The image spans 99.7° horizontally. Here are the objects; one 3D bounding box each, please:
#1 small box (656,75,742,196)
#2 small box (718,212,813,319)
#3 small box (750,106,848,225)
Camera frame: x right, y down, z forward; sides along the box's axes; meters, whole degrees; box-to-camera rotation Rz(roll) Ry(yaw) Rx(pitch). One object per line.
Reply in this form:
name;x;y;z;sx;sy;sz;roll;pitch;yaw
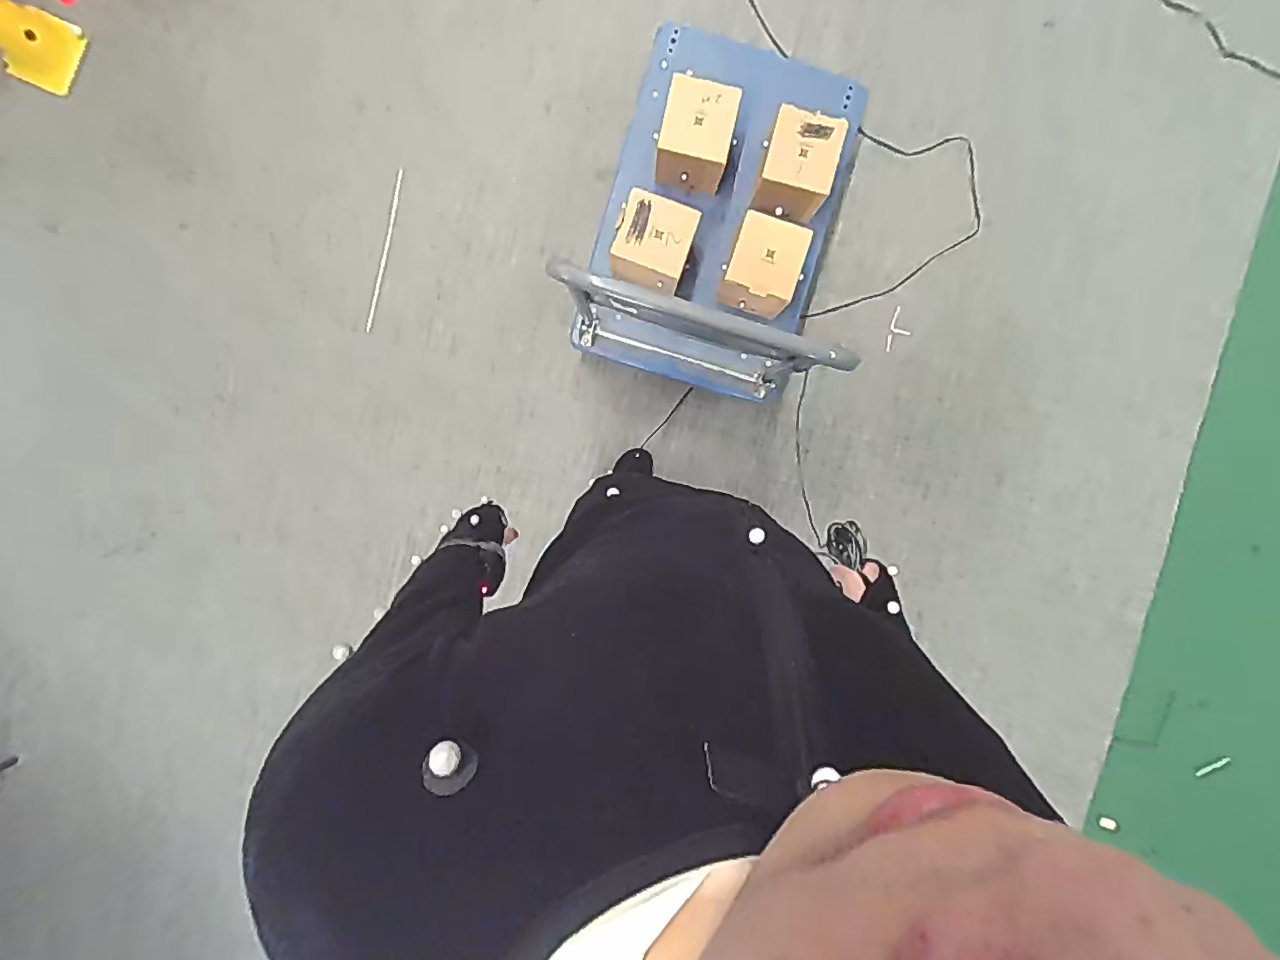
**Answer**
small box;0.136;-0.832;1.326;0.168;0.176;0.179;13;93;-2
small box;0.303;-0.524;1.347;0.168;0.176;0.179;18;93;-2
small box;0.383;-0.765;1.334;0.168;0.176;0.179;15;94;-1
